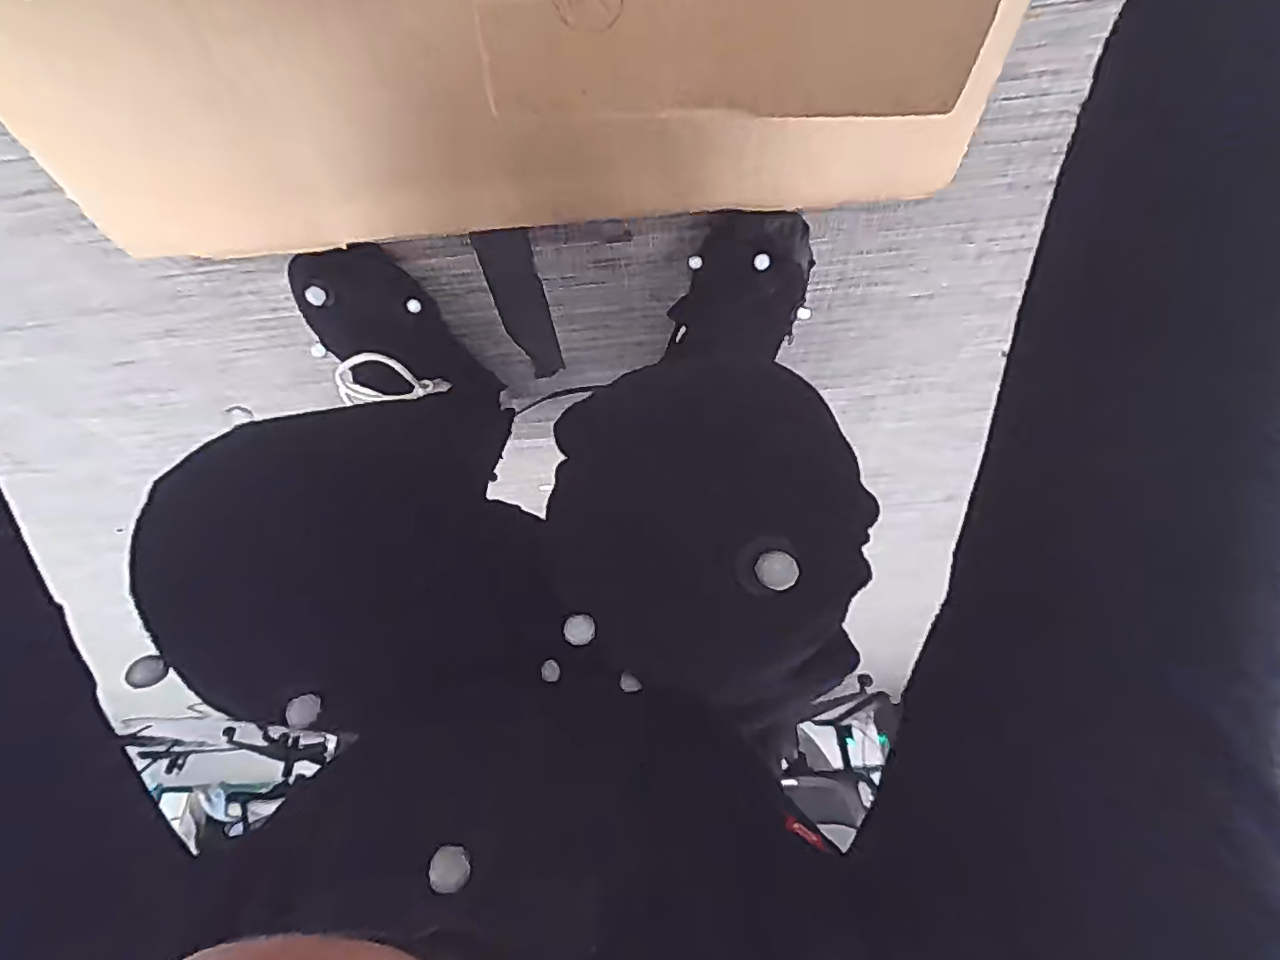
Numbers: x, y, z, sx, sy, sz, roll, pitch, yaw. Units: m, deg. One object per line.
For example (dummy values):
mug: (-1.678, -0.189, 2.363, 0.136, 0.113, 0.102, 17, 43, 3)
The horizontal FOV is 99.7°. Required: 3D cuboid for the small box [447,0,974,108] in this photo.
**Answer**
small box: (0.023, -0.253, 0.179, 0.179, 0.176, 0.168, -2, 146, -3)
